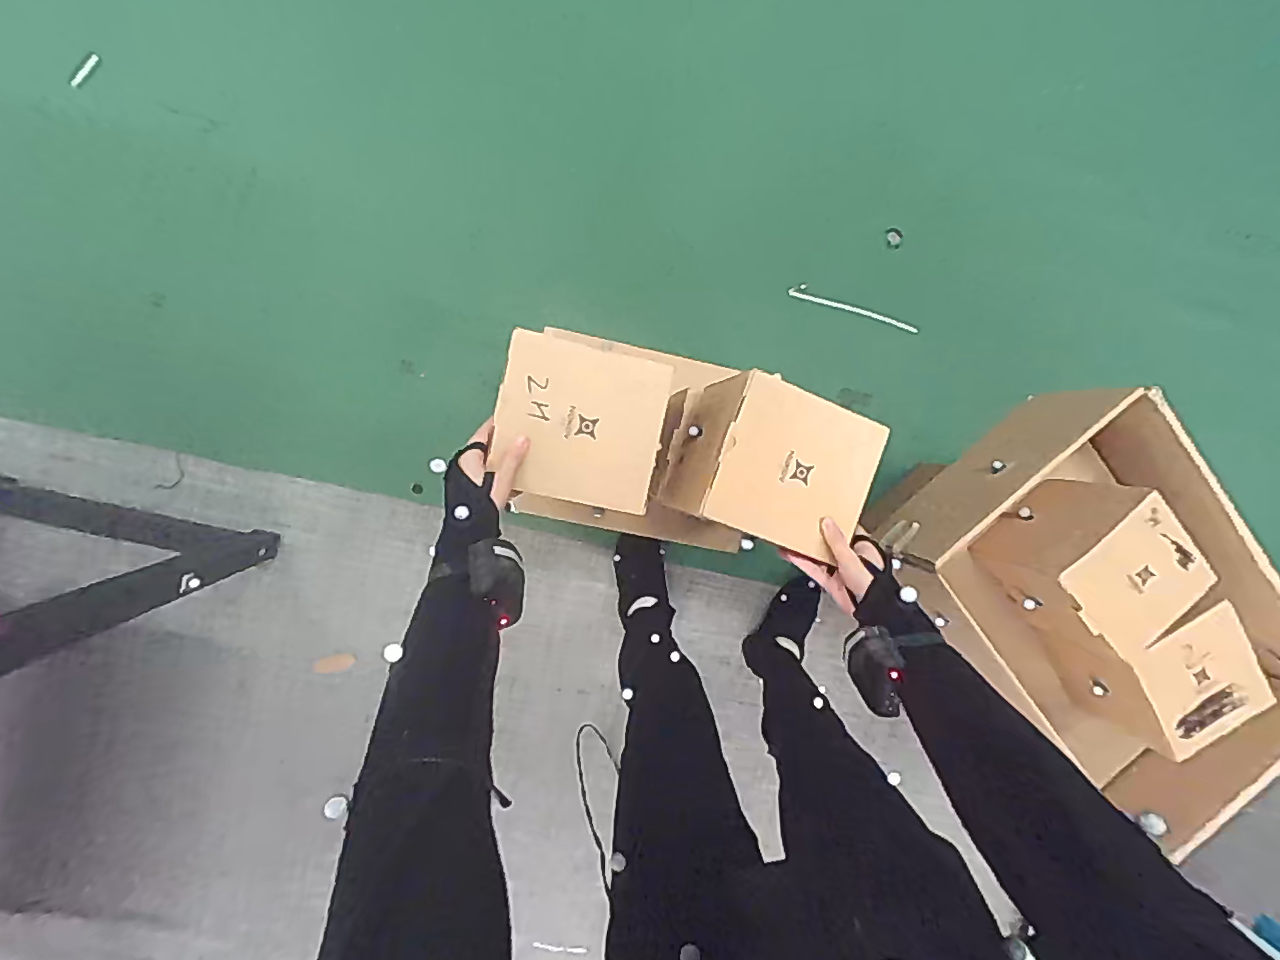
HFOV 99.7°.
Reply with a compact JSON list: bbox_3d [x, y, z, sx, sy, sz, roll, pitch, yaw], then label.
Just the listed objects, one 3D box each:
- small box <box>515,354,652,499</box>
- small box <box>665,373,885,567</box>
[{"bbox_3d":[-0.084,-0.077,0.815,0.168,0.176,0.179,9,94,-5],"label":"small box"},{"bbox_3d":[0.151,-0.013,0.659,0.179,0.176,0.168,21,88,-10],"label":"small box"}]
